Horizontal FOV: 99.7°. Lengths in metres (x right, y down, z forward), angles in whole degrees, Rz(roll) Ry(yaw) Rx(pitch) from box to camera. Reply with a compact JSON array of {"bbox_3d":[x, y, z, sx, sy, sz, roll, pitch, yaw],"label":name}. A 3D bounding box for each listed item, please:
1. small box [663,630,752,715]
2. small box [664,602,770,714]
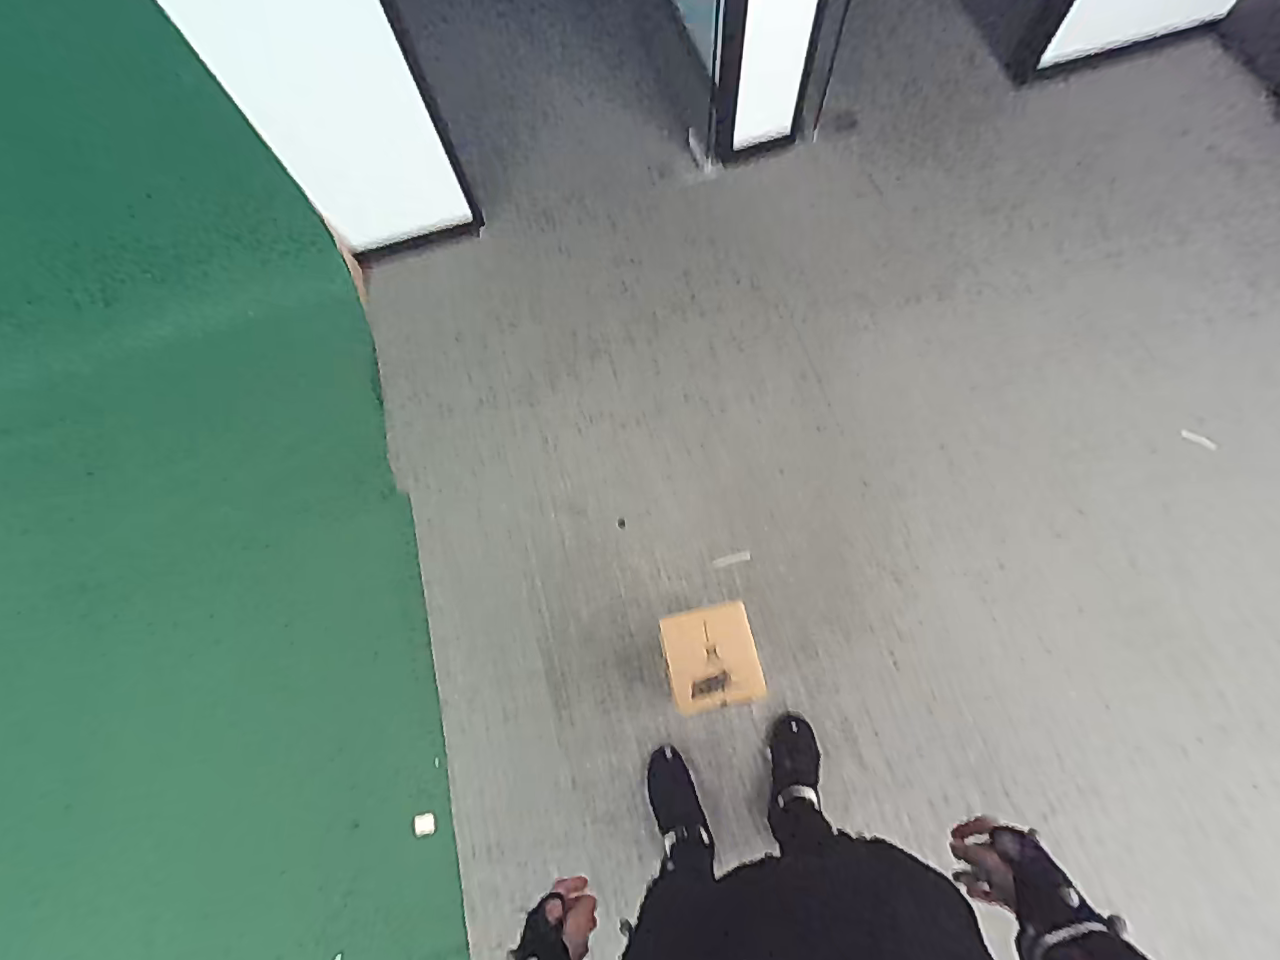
[{"bbox_3d":[0.151,0.415,1.224,0.168,0.176,0.179,-12,71,0],"label":"small box"},{"bbox_3d":[0.149,0.356,1.087,0.168,0.176,0.179,-13,70,-1],"label":"small box"}]
